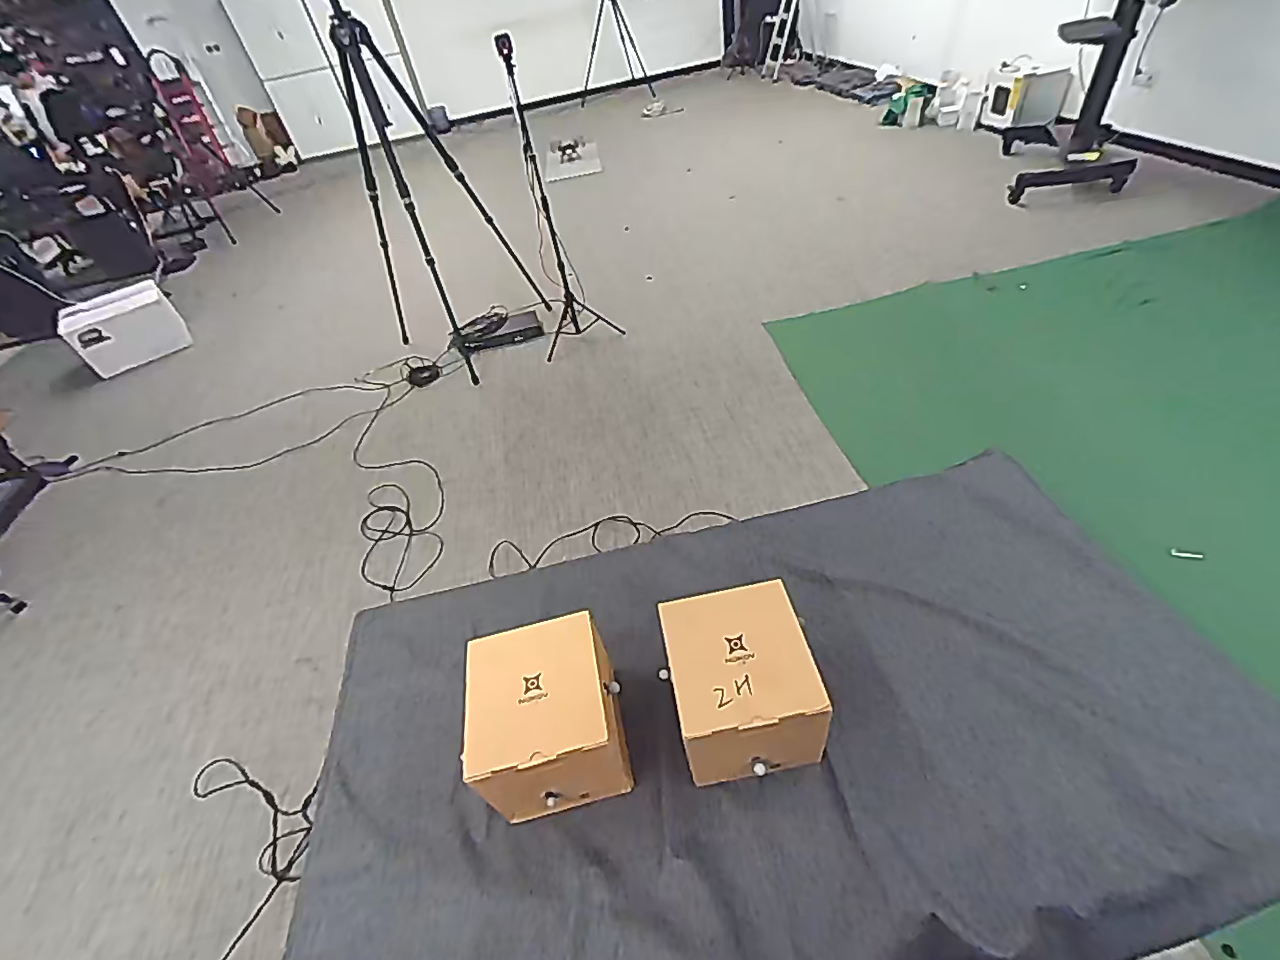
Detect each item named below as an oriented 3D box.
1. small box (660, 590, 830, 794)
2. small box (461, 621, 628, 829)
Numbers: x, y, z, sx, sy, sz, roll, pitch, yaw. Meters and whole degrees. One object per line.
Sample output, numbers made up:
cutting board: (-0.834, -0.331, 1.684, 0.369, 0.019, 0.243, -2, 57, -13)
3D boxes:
small box: (0.125, 0.271, 0.693, 0.168, 0.176, 0.179, -11, 44, 1)
small box: (-0.119, 0.317, 0.702, 0.168, 0.176, 0.179, -14, 44, -3)
